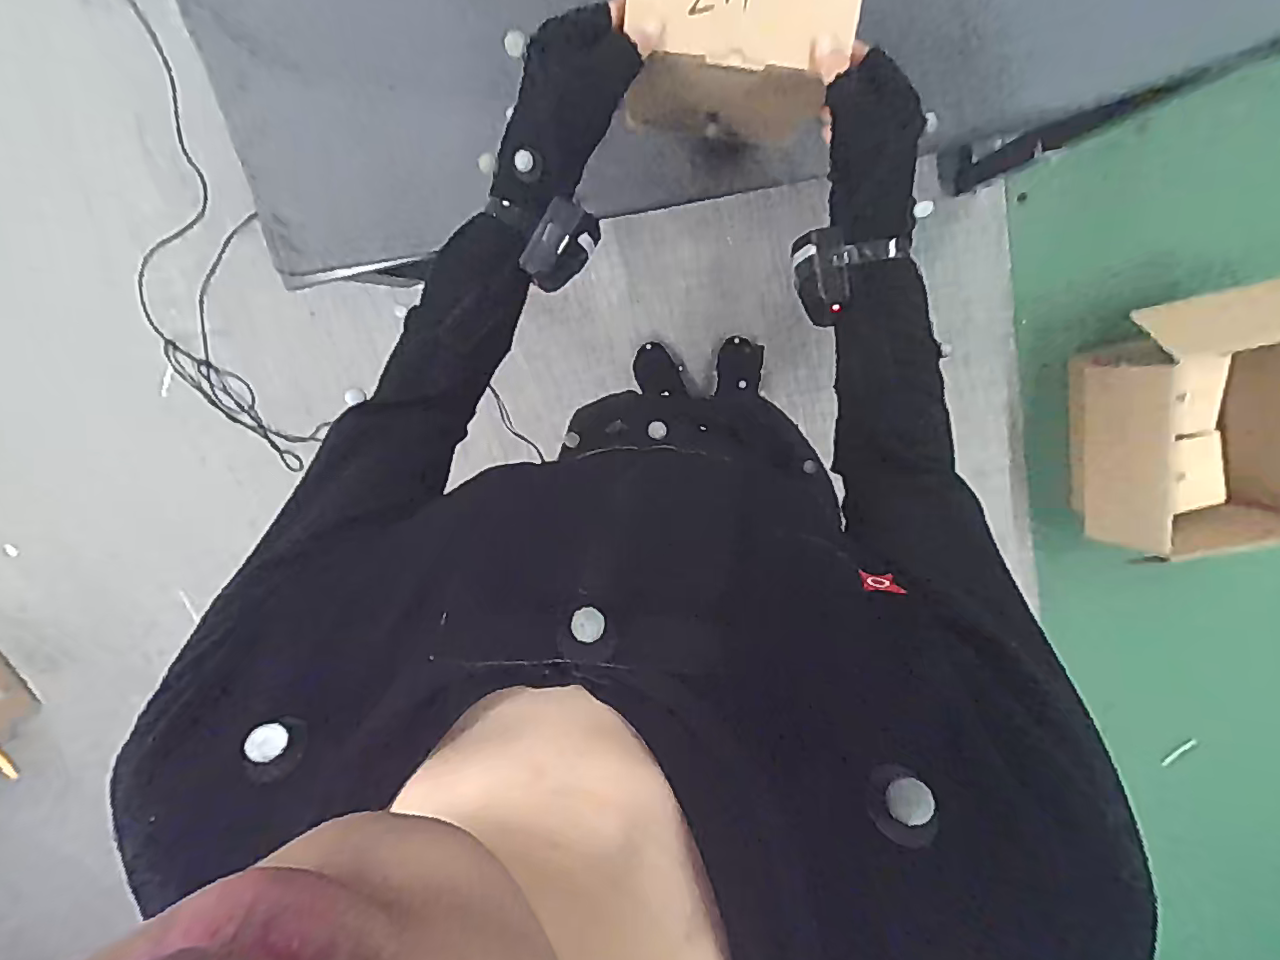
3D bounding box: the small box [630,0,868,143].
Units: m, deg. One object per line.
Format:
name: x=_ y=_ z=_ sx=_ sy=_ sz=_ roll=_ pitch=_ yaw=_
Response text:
small box: x=0.082 y=-0.405 z=0.438 sx=0.168 sy=0.176 sz=0.179 roll=7 pitch=108 yaw=-2
